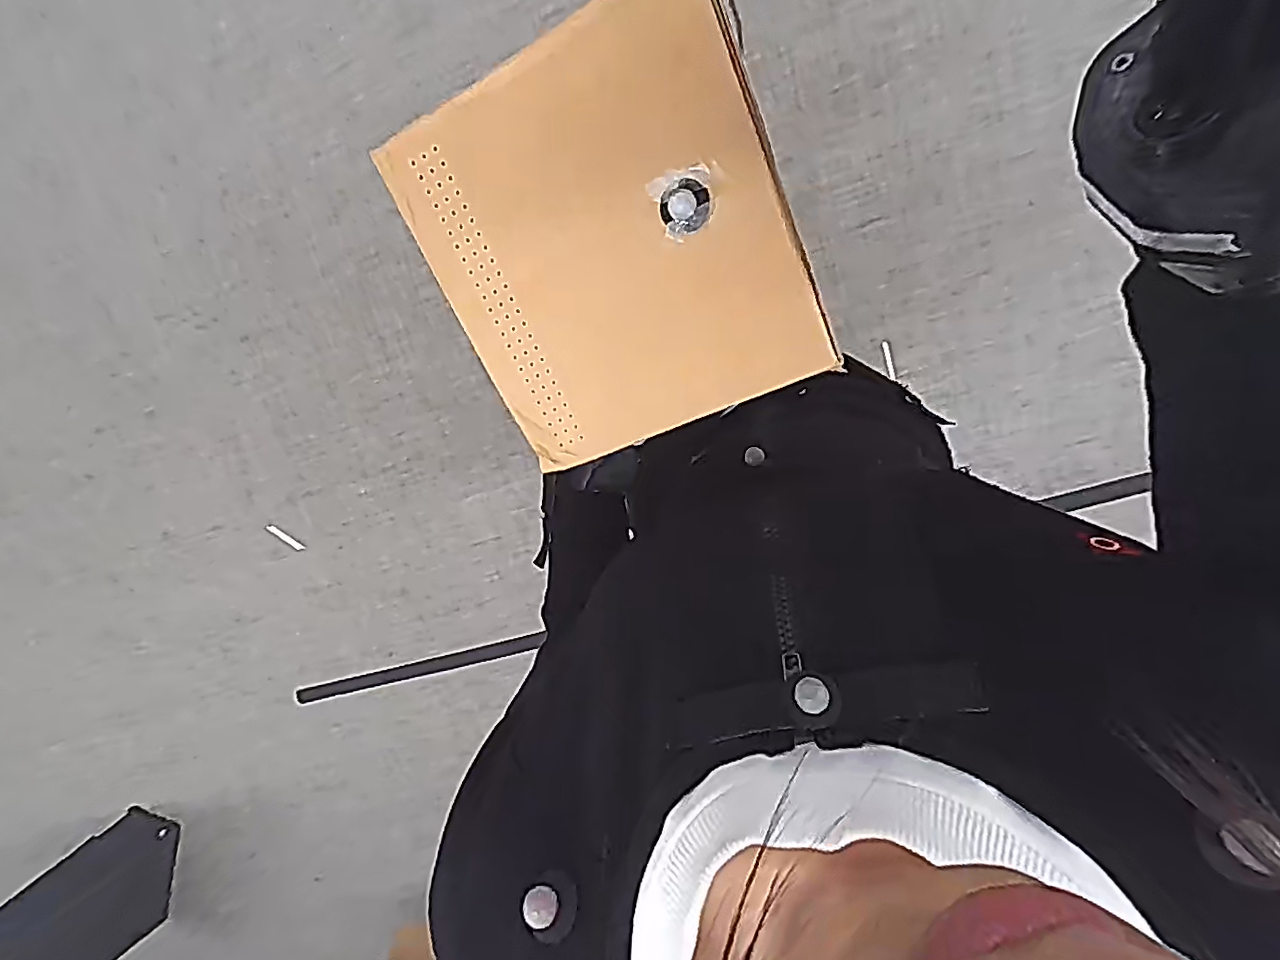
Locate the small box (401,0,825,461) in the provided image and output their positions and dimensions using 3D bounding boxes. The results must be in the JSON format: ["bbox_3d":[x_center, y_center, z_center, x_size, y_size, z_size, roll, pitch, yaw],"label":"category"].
[{"bbox_3d":[-0.005,-0.137,0.334,0.176,0.168,0.179,-19,108,19],"label":"small box"}]
